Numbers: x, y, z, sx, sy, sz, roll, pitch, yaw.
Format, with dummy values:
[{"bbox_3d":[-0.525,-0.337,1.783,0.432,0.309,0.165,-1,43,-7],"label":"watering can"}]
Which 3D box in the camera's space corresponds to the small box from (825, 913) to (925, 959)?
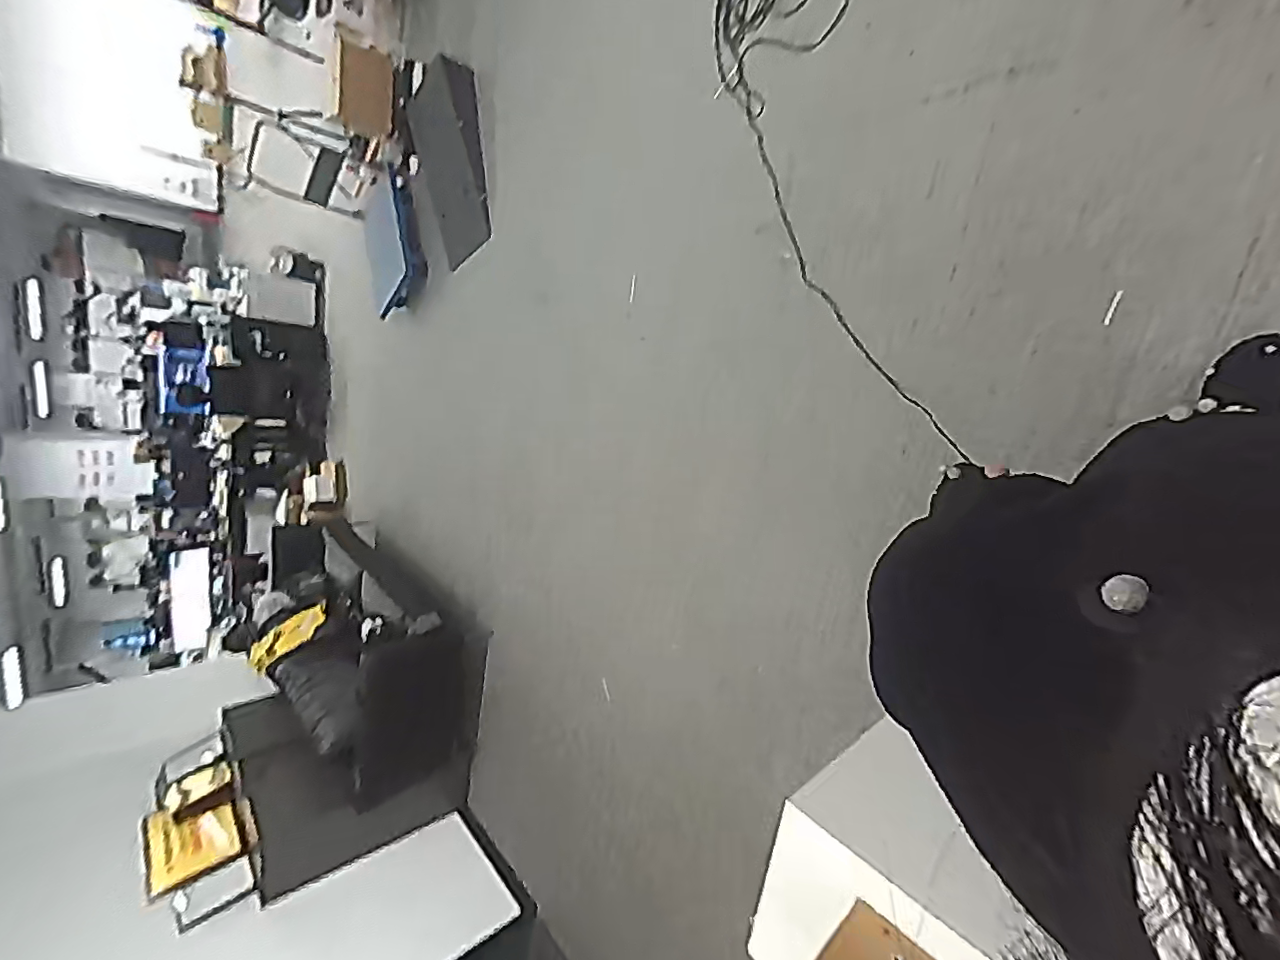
[{"bbox_3d":[0.381,0.866,0.864,0.168,0.176,0.179,20,107,44],"label":"small box"}]
